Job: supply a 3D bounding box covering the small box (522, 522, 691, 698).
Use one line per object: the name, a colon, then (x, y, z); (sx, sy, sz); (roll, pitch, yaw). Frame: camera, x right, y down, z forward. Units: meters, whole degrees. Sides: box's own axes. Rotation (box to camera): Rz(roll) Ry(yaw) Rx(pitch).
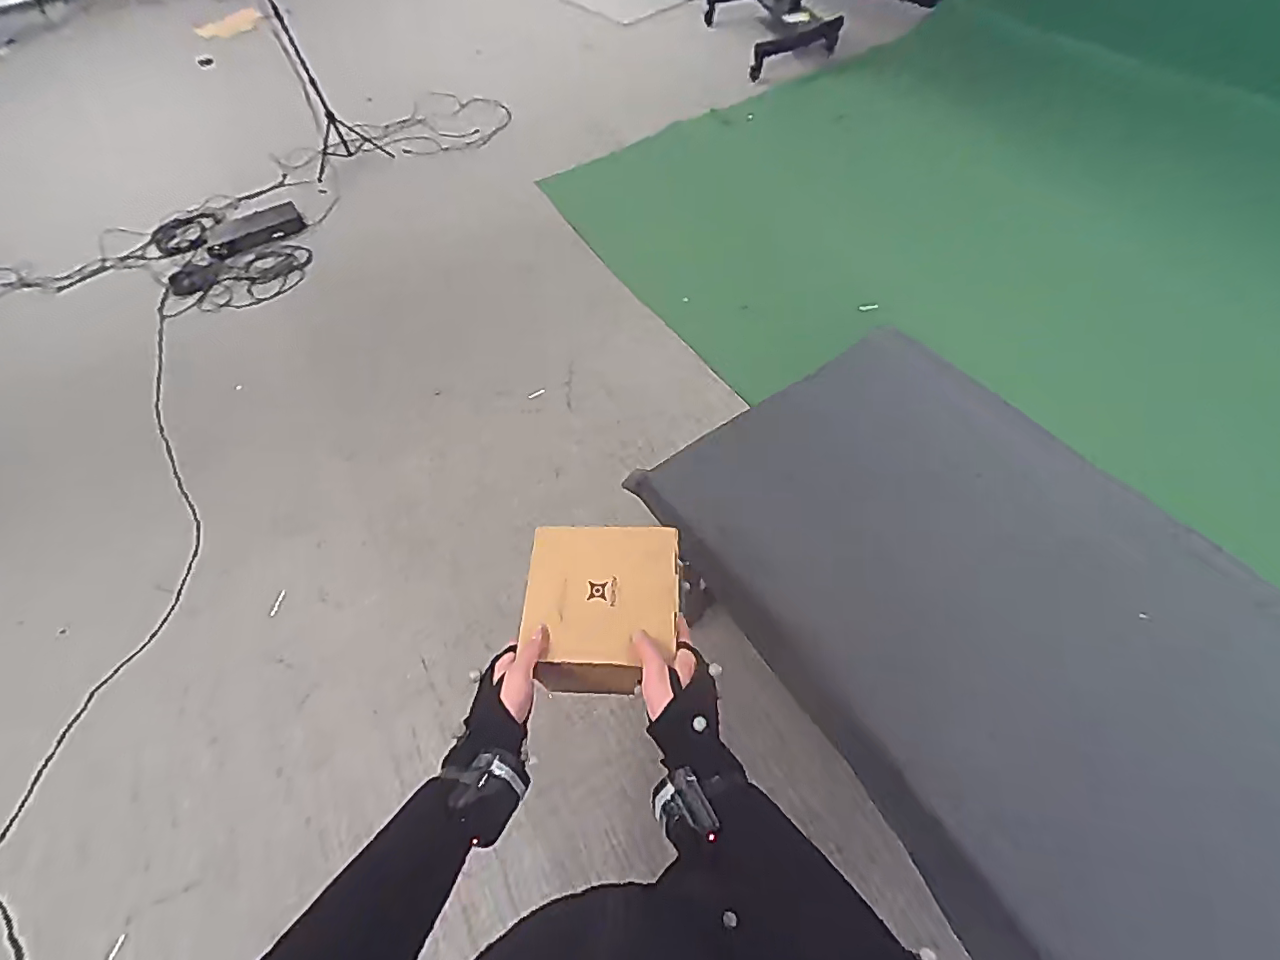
small box: (-0.032, 0.164, 0.665); (0.179, 0.176, 0.168); (-1, 56, 2)
